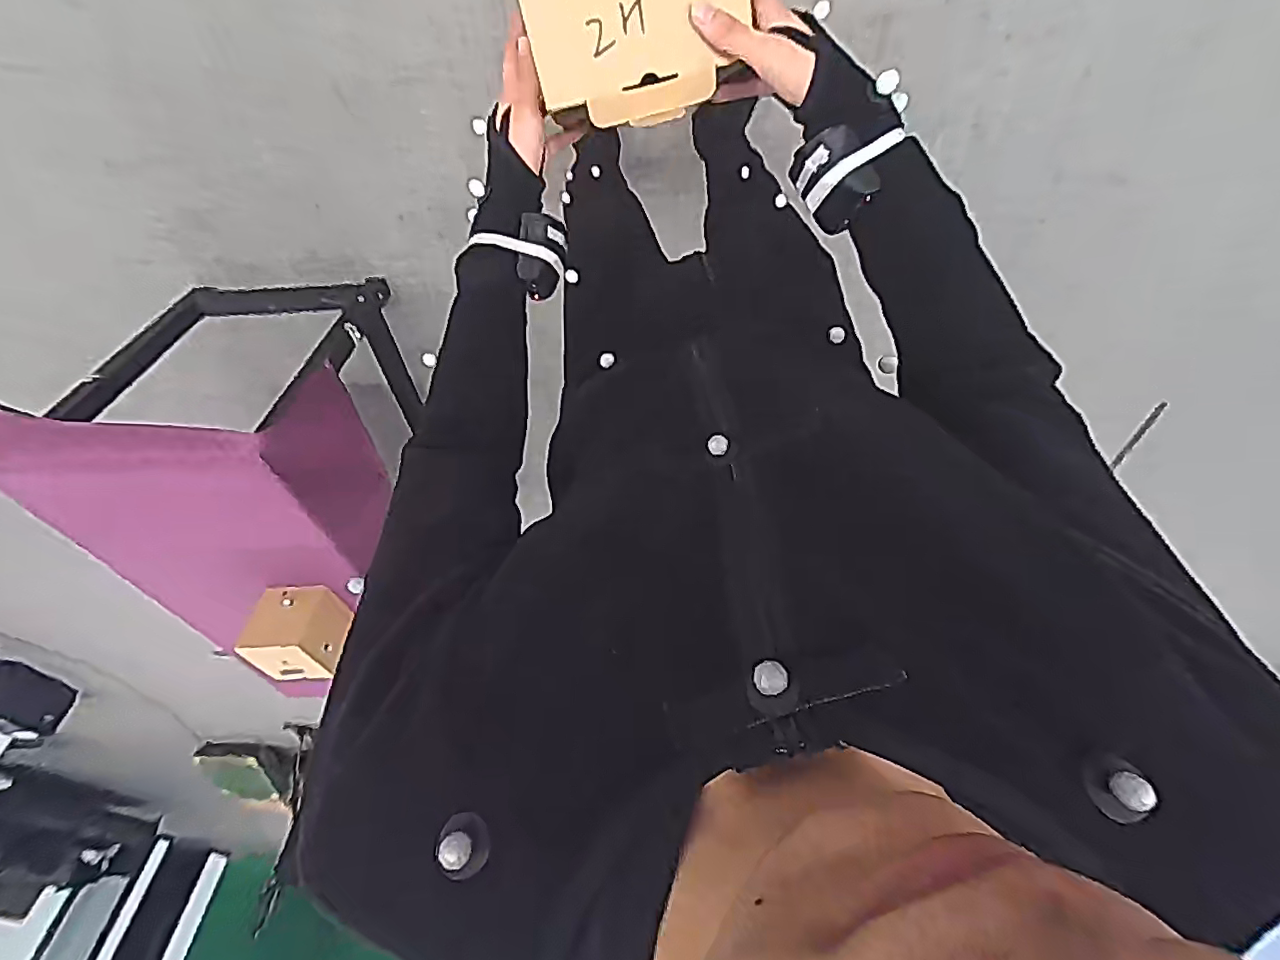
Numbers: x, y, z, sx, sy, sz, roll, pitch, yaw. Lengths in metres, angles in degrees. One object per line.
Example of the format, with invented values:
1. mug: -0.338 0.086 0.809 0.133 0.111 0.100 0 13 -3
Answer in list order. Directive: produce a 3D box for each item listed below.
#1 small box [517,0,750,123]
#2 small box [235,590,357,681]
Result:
1. small box: -0.019 -0.414 0.437 0.168 0.176 0.179 -13 120 2
2. small box: -0.861 0.397 1.376 0.168 0.176 0.179 -4 137 6
